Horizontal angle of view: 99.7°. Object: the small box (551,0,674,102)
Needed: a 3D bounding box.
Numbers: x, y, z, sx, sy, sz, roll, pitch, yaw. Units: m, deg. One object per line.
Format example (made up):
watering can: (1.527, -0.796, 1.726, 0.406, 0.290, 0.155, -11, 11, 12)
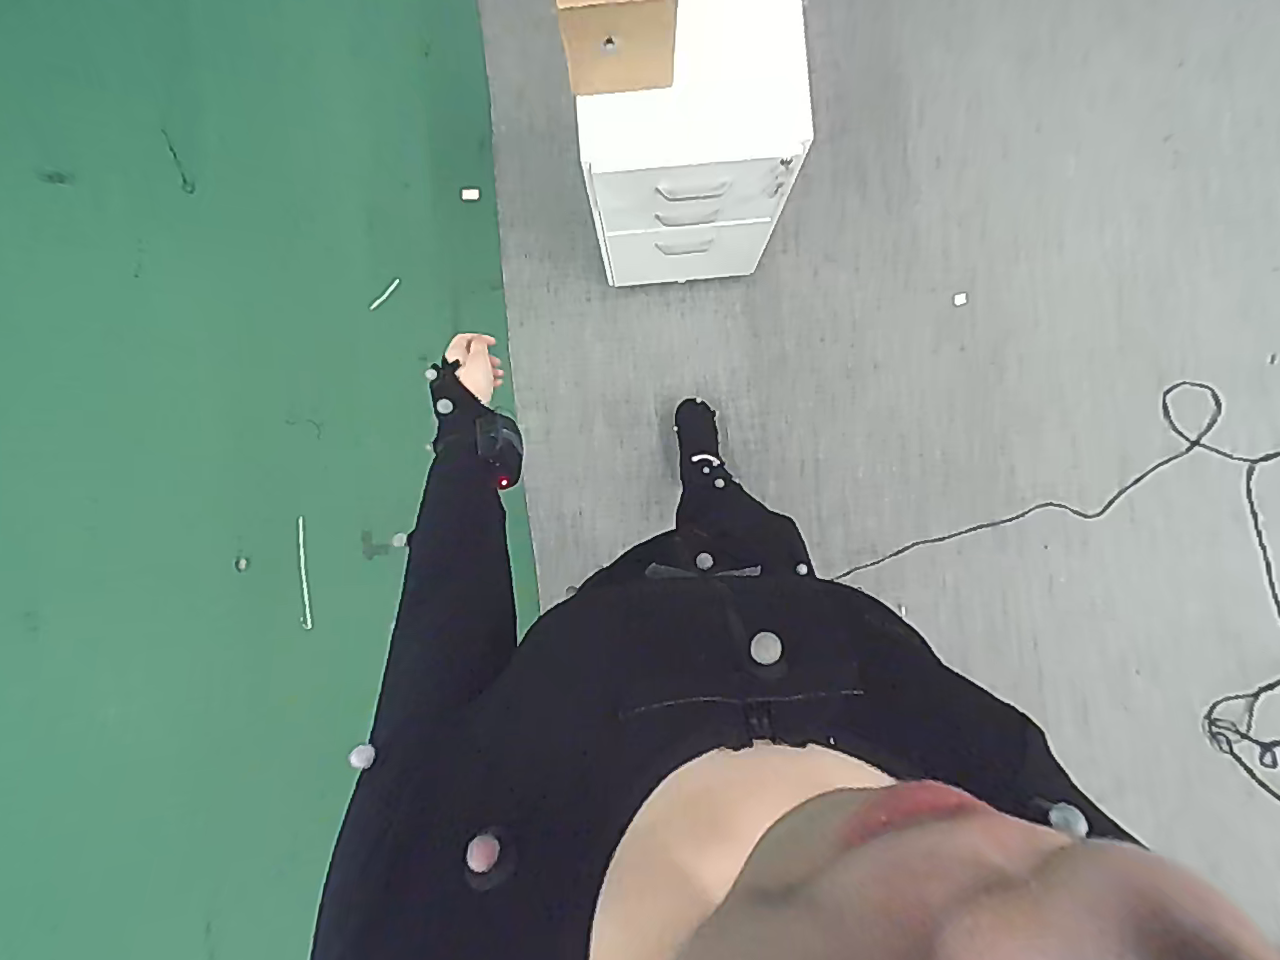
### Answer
small box: (-0.042, -0.733, 0.851, 0.179, 0.176, 0.168, -5, 87, 0)
